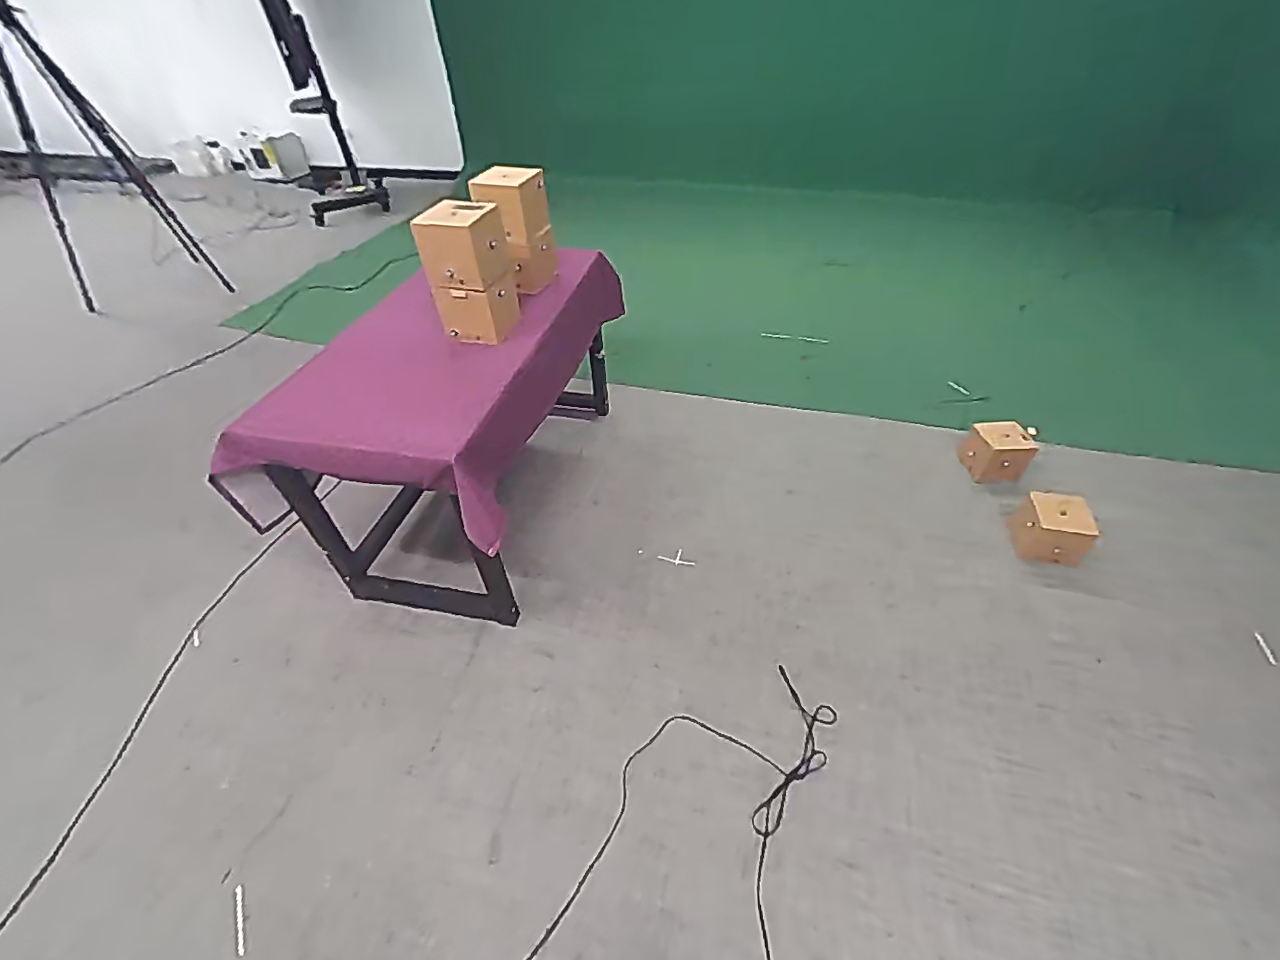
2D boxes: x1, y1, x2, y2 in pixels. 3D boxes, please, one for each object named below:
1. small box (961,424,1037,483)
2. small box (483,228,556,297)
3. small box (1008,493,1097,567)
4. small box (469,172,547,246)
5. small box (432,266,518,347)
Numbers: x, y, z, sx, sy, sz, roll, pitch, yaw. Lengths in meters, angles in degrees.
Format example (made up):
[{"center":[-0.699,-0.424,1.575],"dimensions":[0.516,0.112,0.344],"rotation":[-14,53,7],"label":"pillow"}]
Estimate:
[{"center":[1.388,-0.102,2.113],"dimensions":[0.179,0.176,0.168],"rotation":[-3,43,0],"label":"small box"},{"center":[-0.394,-0.730,1.805],"dimensions":[0.168,0.176,0.179],"rotation":[12,45,14],"label":"small box"},{"center":[1.381,0.171,1.823],"dimensions":[0.168,0.176,0.179],"rotation":[9,45,11],"label":"small box"},{"center":[-0.404,-0.848,1.694],"dimensions":[0.168,0.176,0.179],"rotation":[11,45,13],"label":"small box"},{"center":[-0.467,-0.502,1.568],"dimensions":[0.168,0.176,0.179],"rotation":[8,44,11],"label":"small box"}]
